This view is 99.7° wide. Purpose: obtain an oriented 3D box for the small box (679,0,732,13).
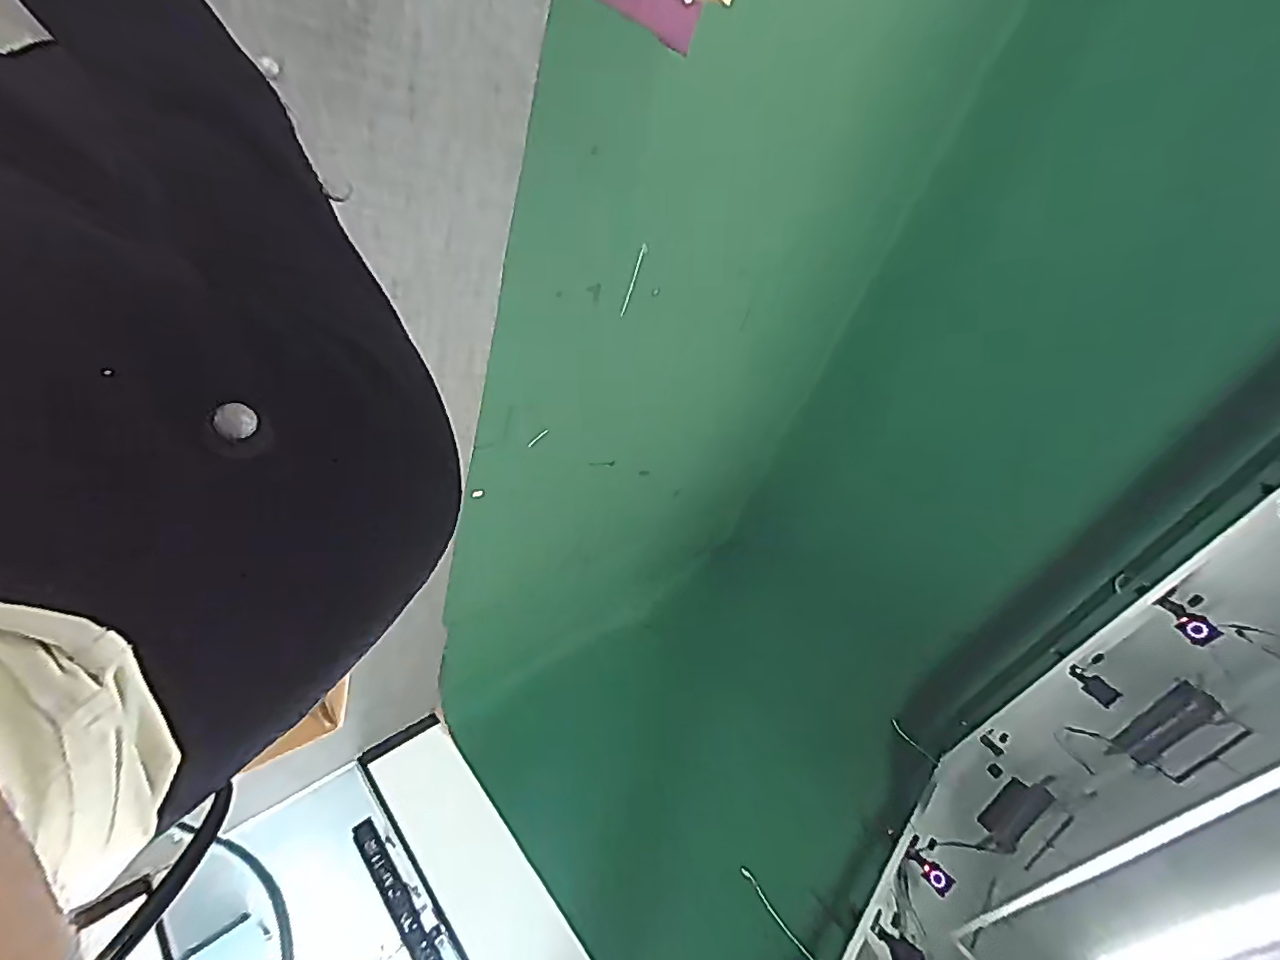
[{"bbox_3d":[0.047,-0.787,0.734,0.179,0.176,0.168,-14,135,-47],"label":"small box"}]
